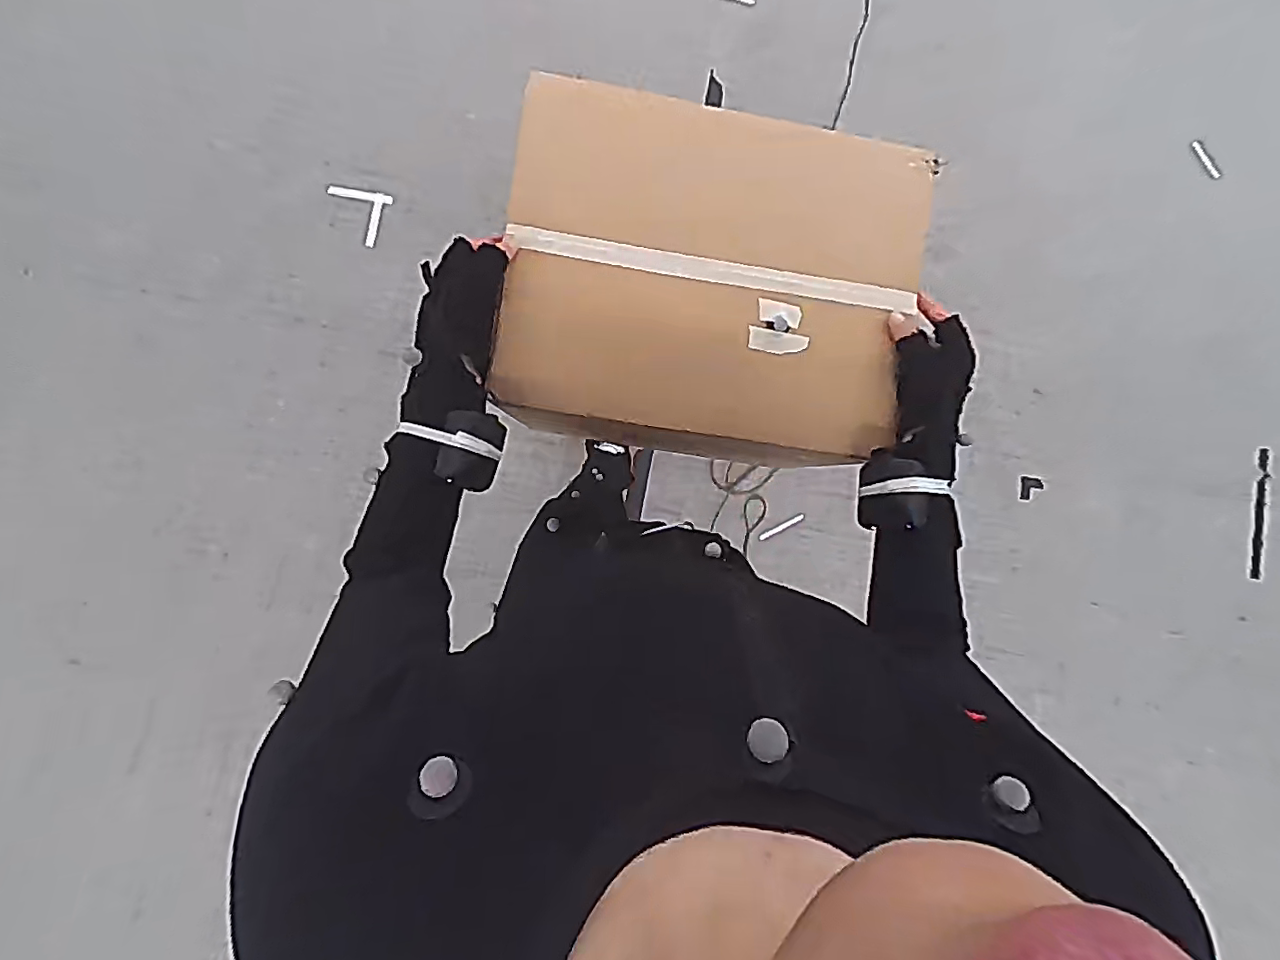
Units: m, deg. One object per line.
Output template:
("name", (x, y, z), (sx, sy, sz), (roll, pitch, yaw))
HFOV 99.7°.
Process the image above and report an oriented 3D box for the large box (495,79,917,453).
("large box", (0.058, -0.217, 0.689), (0.408, 0.320, 0.320), (8, 91, -5))
